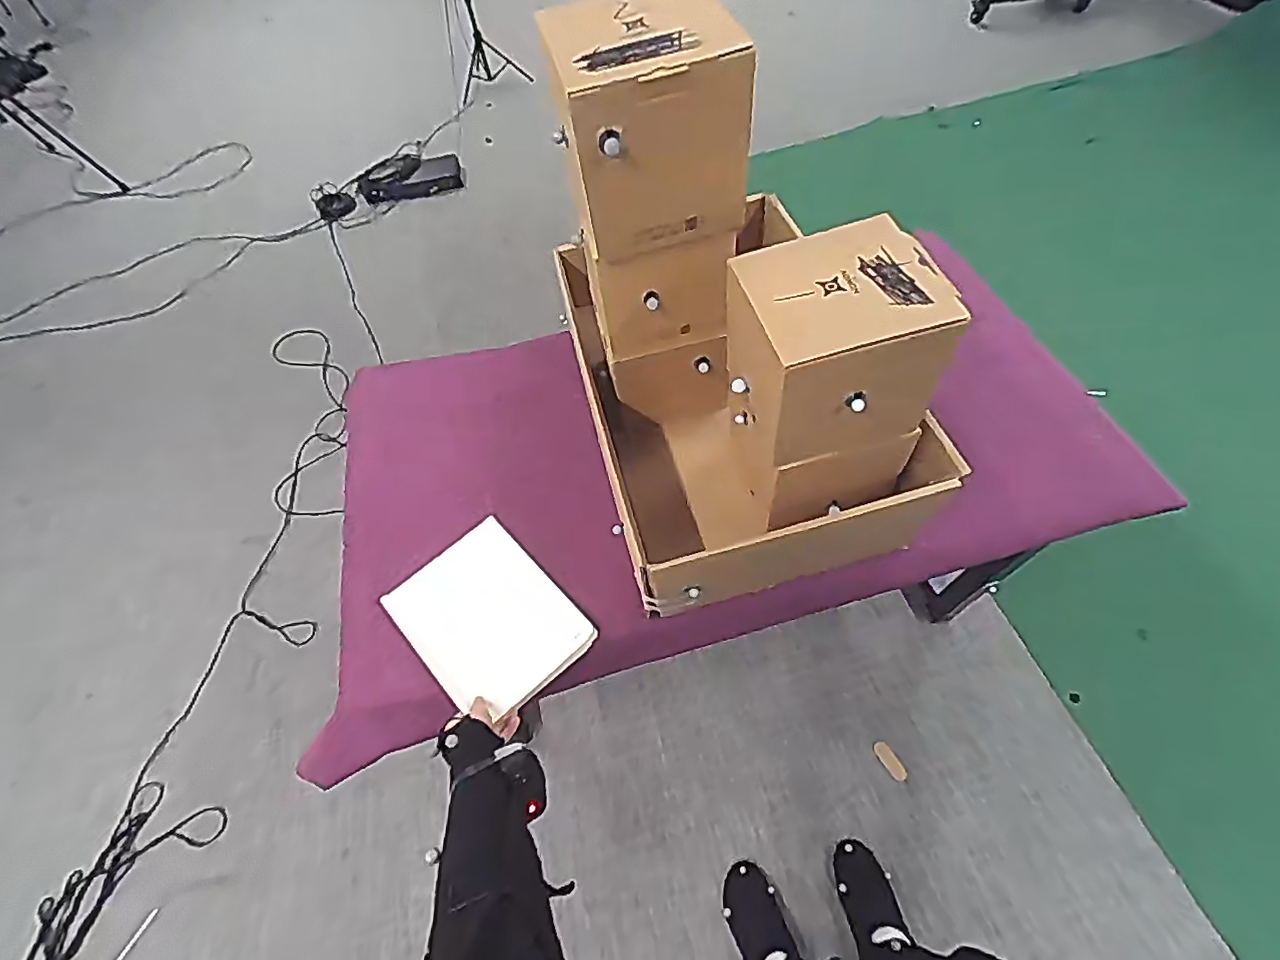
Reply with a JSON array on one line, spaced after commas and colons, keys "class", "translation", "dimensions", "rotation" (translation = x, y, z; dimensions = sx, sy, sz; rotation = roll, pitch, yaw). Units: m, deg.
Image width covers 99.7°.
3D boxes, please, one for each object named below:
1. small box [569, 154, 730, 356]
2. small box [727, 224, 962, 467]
[{"class": "small box", "translation": [0.015, -0.284, 0.712], "dimensions": [0.168, 0.176, 0.179], "rotation": [-14, 59, -2]}, {"class": "small box", "translation": [0.199, -0.139, 0.589], "dimensions": [0.179, 0.176, 0.168], "rotation": [-15, 56, 0]}]
